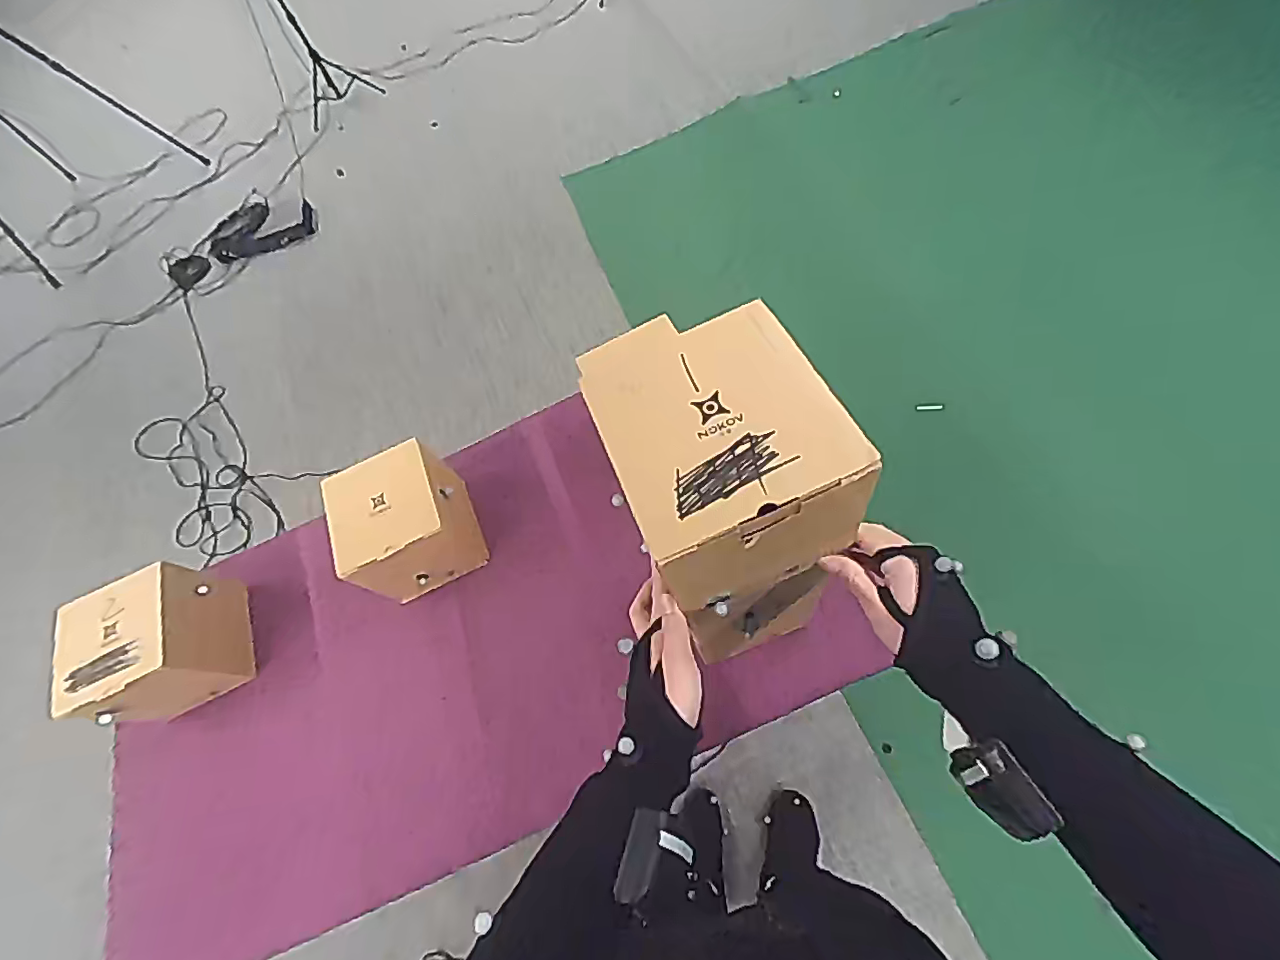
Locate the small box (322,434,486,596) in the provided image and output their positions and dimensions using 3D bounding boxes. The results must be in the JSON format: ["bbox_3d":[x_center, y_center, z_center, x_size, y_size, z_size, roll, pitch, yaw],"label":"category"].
[{"bbox_3d":[-0.373,0.063,0.873,0.168,0.176,0.179,-25,64,-3],"label":"small box"}]

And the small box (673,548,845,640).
[{"bbox_3d":[0.102,0.056,0.605,0.168,0.176,0.179,-23,61,0],"label":"small box"}]

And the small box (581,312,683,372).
[{"bbox_3d":[0.024,-0.132,0.891,0.168,0.176,0.179,-26,64,0],"label":"small box"}]

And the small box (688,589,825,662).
[{"bbox_3d":[0.131,0.129,0.748,0.168,0.176,0.179,-22,60,0],"label":"small box"}]

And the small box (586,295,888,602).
[{"bbox_3d":[0.075,-0.012,0.458,0.168,0.176,0.179,-23,60,0],"label":"small box"}]
